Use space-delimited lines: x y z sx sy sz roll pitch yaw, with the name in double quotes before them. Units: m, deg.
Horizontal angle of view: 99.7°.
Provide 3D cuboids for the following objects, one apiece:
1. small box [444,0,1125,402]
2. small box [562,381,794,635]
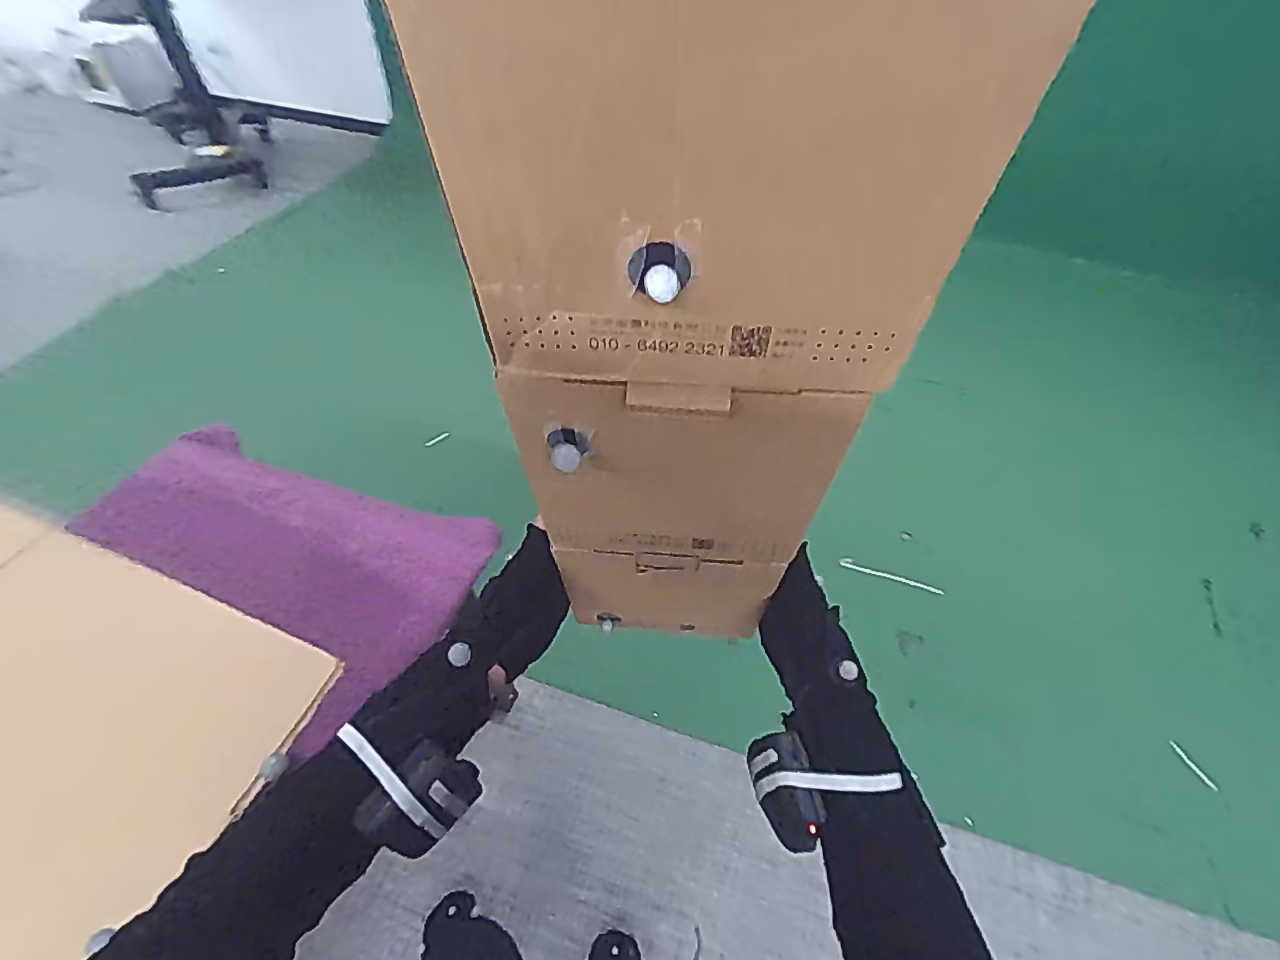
"small box" 0.034 -0.155 0.212 0.168 0.176 0.179 3 57 3
"small box" 0.037 0.027 0.485 0.168 0.176 0.179 4 57 4
